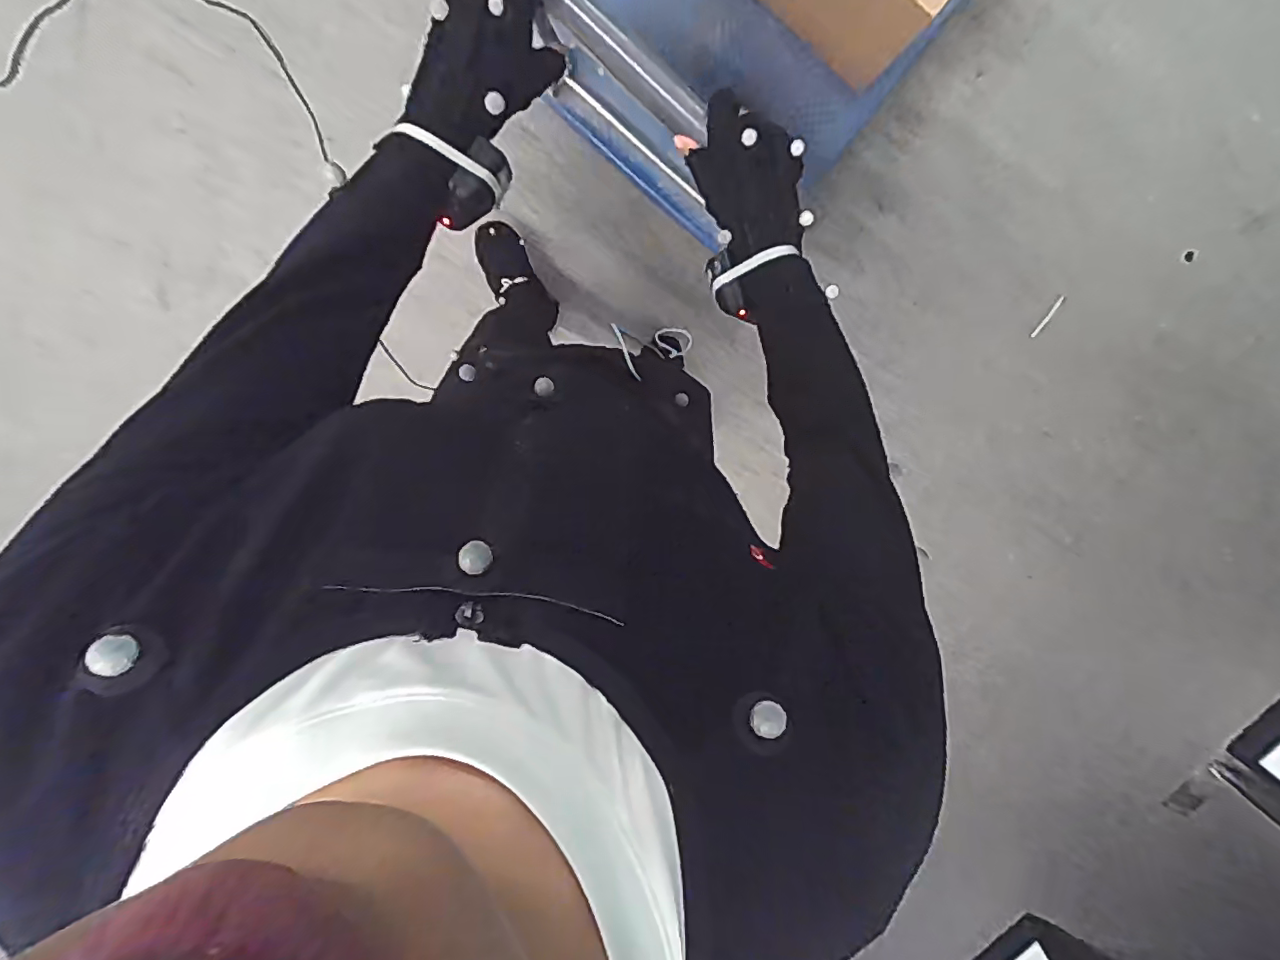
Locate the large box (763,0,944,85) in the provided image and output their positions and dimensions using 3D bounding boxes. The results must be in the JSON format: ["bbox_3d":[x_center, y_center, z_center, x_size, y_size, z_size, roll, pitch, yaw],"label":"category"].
[{"bbox_3d":[0.354,-0.938,0.841,0.408,0.320,0.320,36,106,-9],"label":"large box"}]
